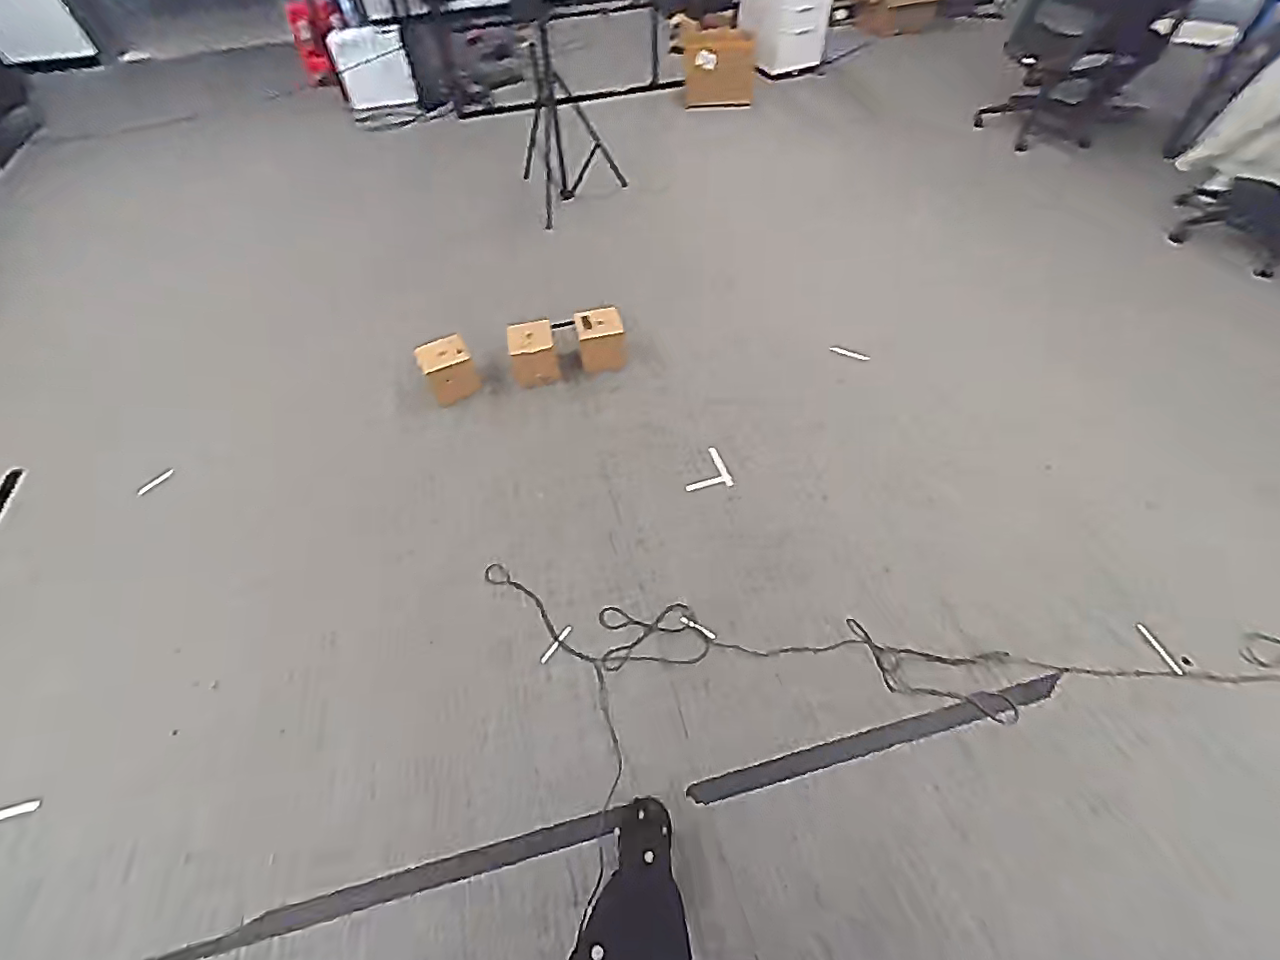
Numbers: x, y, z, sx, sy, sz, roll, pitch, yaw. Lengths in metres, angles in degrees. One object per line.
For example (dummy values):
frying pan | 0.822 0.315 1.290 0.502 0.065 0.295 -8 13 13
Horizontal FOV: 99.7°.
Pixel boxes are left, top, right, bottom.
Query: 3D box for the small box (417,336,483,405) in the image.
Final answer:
small box | -0.727 -0.418 2.079 0.179 0.176 0.168 -24 56 -14

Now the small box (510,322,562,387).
small box | -0.408 -0.490 2.116 0.168 0.176 0.179 -11 54 -5
